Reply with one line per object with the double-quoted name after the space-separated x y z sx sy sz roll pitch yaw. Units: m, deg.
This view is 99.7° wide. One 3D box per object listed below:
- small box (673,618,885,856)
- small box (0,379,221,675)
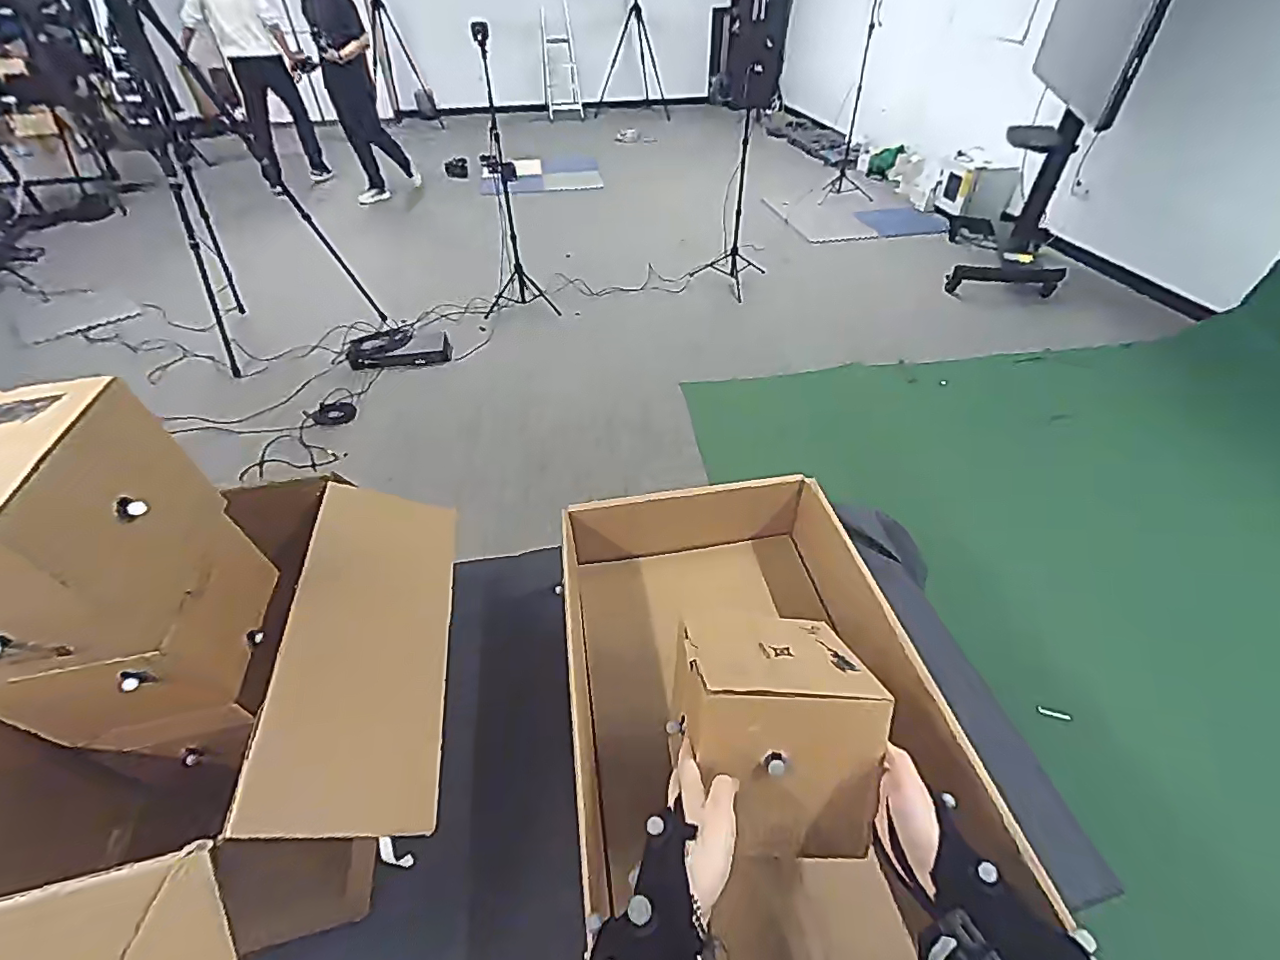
0.130 0.262 0.574 0.179 0.176 0.168 3 11 -4 "small box"
-0.505 0.041 0.455 0.168 0.176 0.179 -8 47 -5 "small box"
